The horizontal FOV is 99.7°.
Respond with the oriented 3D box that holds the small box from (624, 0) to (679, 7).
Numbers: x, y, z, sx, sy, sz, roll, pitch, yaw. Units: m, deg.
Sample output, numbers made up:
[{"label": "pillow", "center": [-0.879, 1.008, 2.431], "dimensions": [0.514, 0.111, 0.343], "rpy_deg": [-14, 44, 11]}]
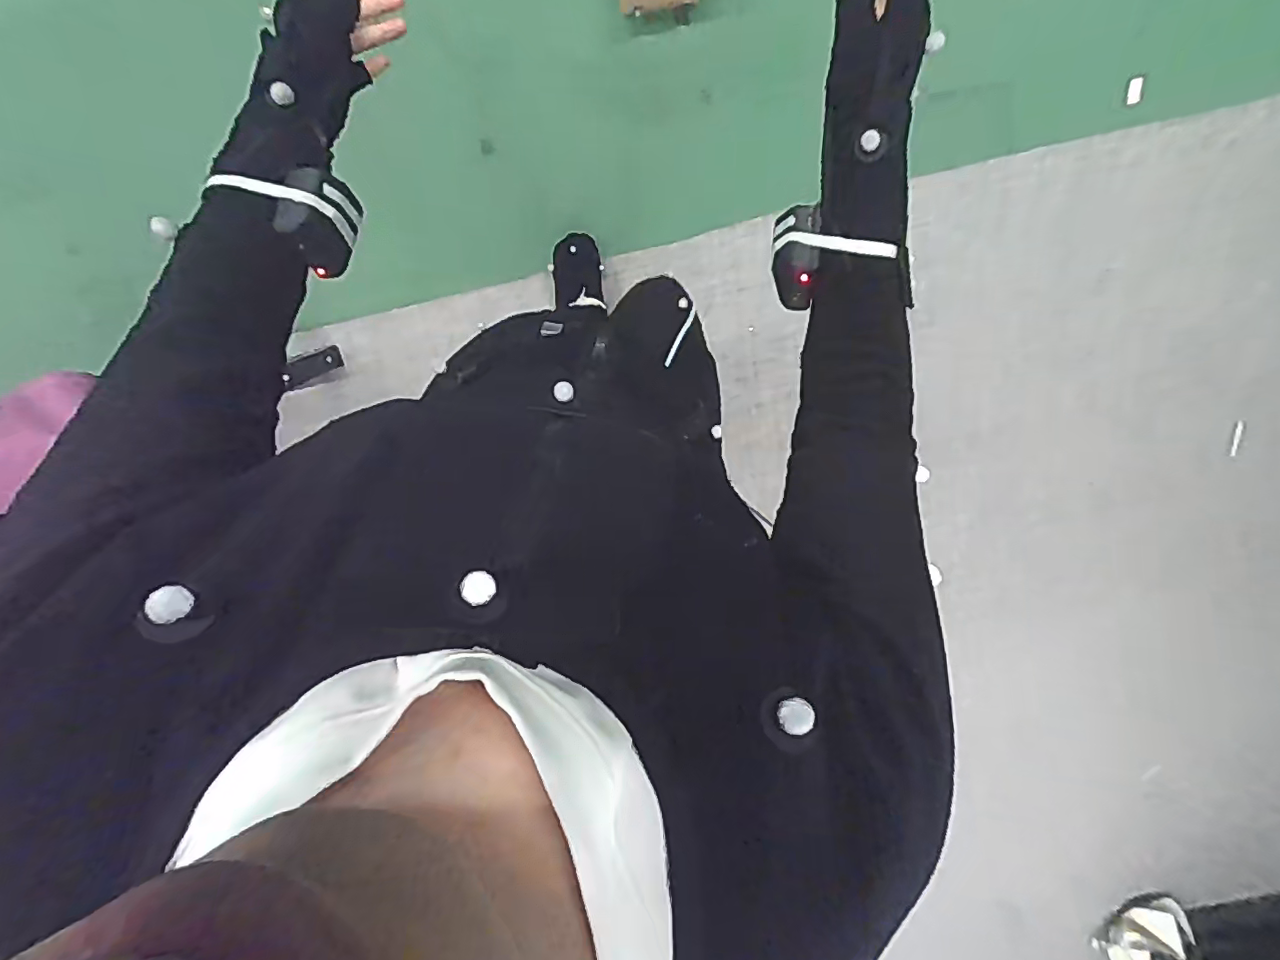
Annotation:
[{"label": "small box", "center": [0.036, -1.024, 1.008], "dimensions": [0.168, 0.176, 0.179], "rpy_deg": [-10, 113, 1]}]
